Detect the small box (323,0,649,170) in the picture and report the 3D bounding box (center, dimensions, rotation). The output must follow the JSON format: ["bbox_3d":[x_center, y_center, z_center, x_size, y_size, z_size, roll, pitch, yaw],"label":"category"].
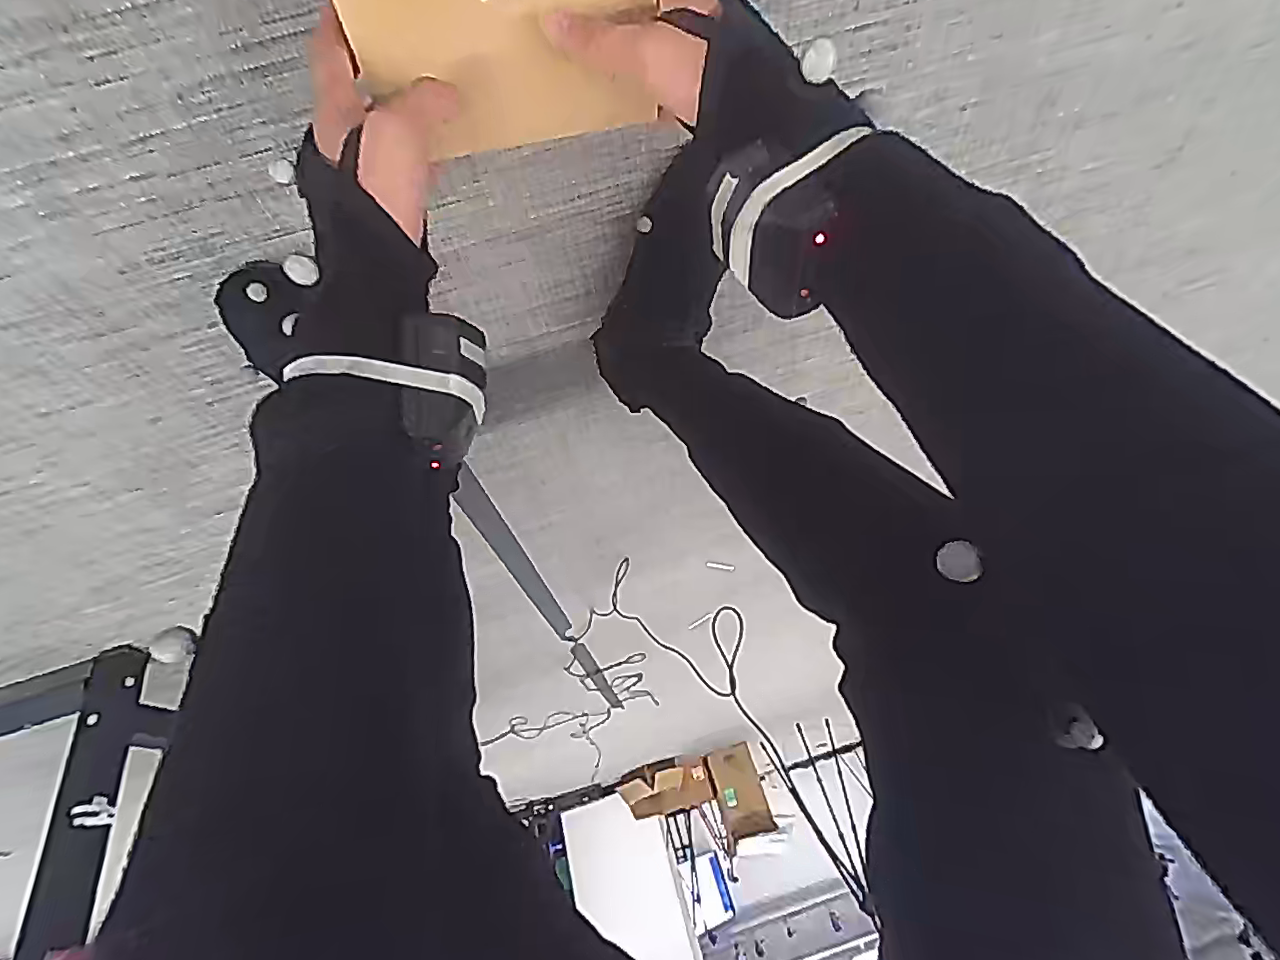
[{"bbox_3d":[-0.095,-0.316,0.307,0.168,0.176,0.179,-15,147,-7],"label":"small box"}]
